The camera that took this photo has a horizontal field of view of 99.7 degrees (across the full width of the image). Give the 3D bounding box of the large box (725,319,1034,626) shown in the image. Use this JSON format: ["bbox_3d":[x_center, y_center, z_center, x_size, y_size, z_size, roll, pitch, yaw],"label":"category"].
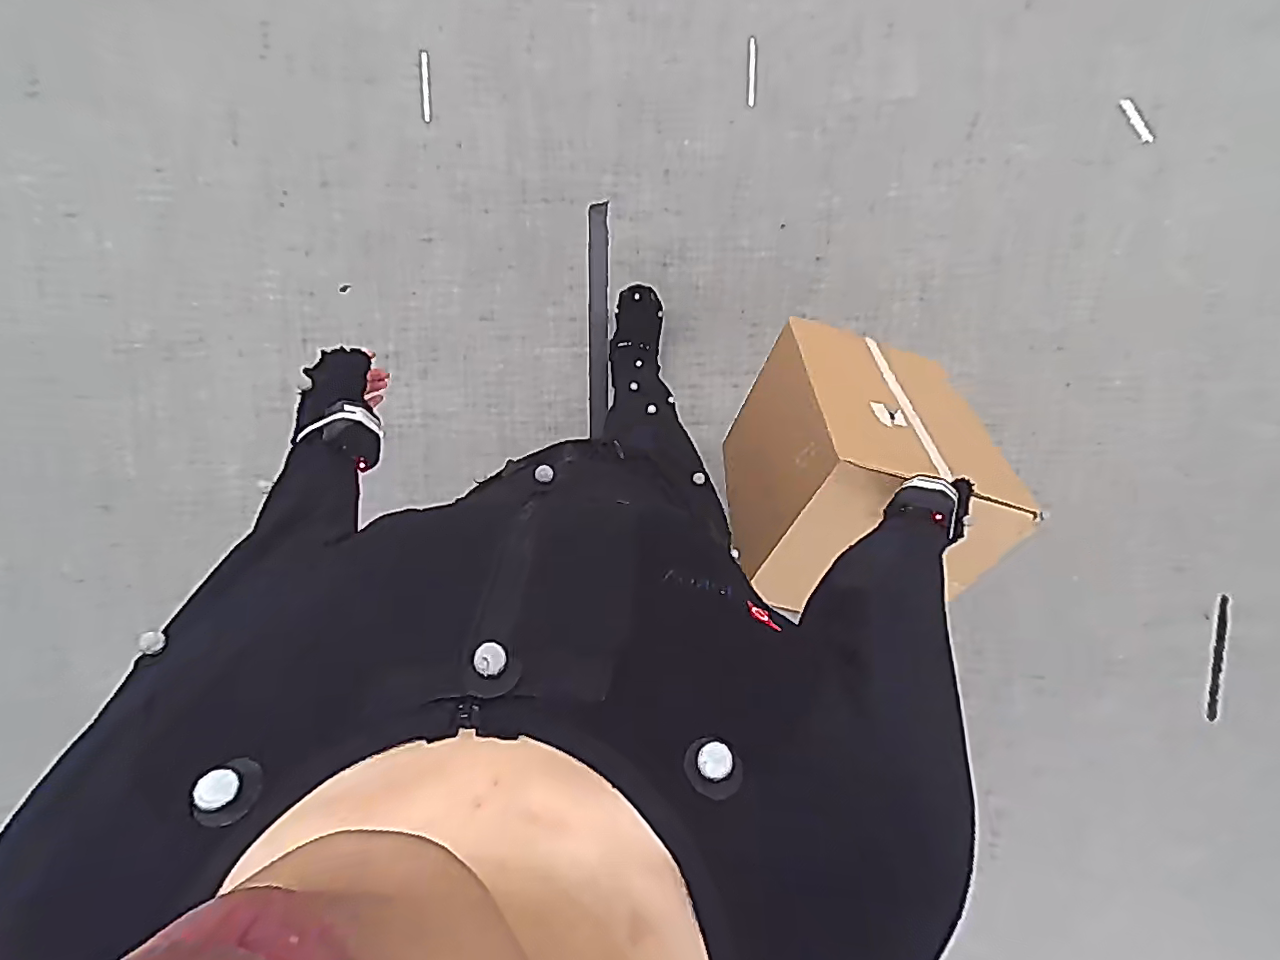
[{"bbox_3d":[0.363,-0.017,0.960,0.320,0.408,0.320,15,132,-10],"label":"large box"}]
